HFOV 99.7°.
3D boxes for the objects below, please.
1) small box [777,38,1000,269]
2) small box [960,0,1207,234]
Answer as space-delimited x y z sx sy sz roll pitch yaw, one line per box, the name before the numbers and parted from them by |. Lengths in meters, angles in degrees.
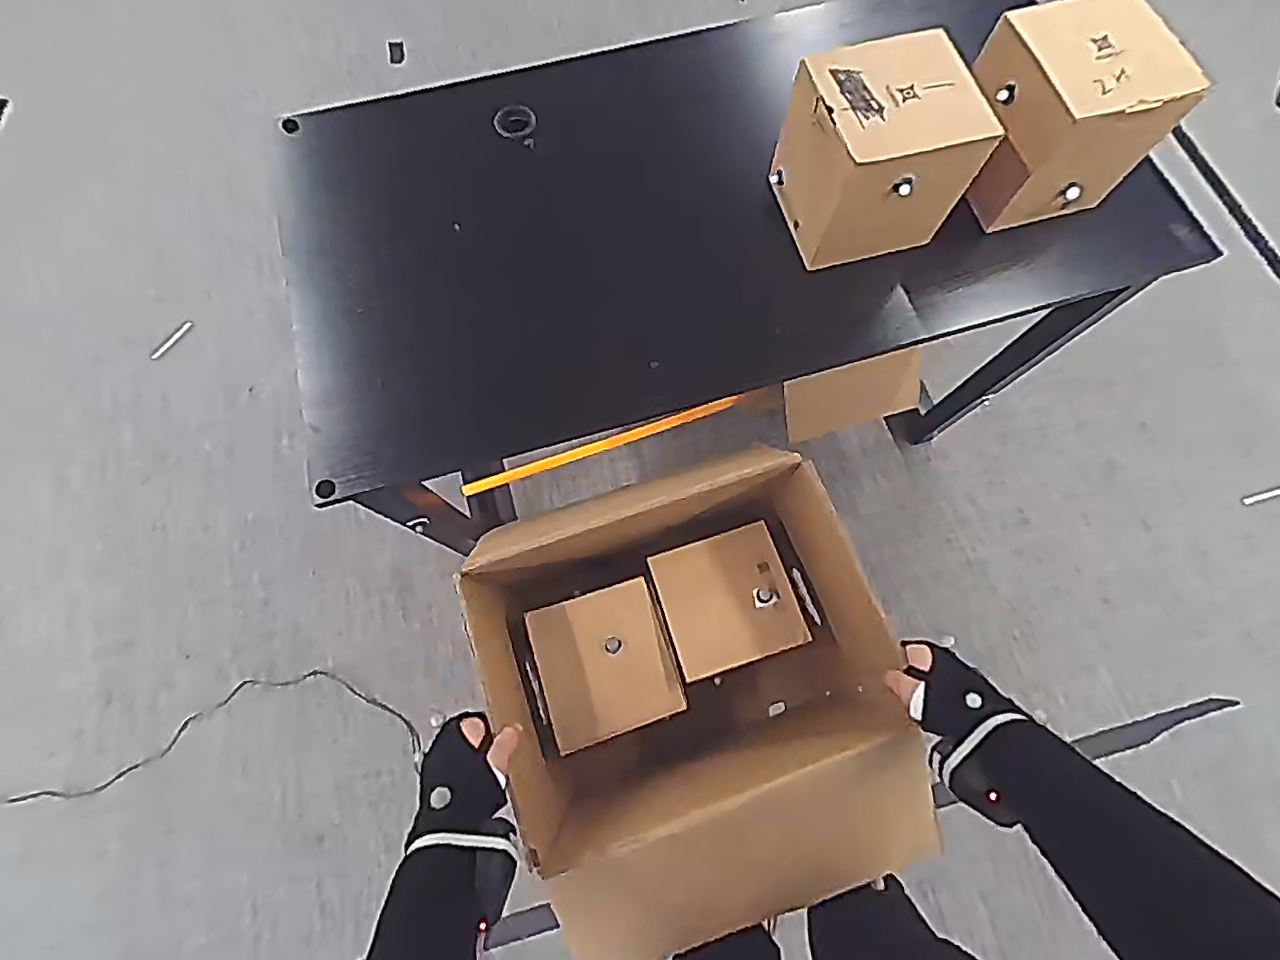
small box | 0.283 -0.390 0.669 0.179 0.176 0.168 -14 73 -5
small box | 0.520 -0.451 0.685 0.168 0.176 0.179 -14 73 -3
